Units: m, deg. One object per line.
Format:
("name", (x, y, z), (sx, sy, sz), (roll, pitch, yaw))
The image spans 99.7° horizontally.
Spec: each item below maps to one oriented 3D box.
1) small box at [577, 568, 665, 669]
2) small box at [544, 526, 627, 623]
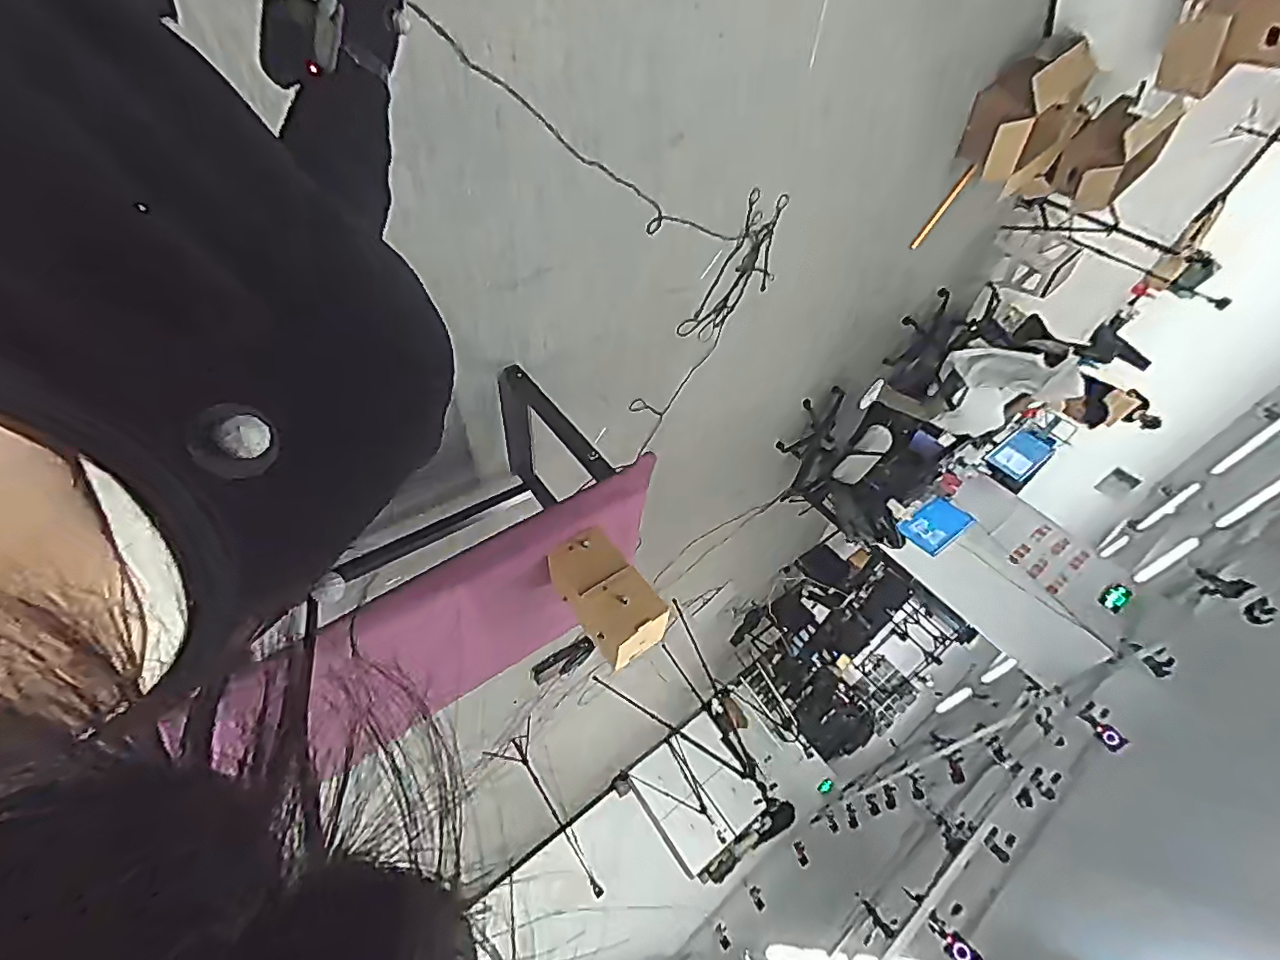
("small box", (-0.057, 0.360, 1.436), (0.168, 0.176, 0.179), (-27, 147, -27))
("small box", (-0.157, 0.262, 1.522), (0.168, 0.176, 0.179), (-29, 148, -26))
